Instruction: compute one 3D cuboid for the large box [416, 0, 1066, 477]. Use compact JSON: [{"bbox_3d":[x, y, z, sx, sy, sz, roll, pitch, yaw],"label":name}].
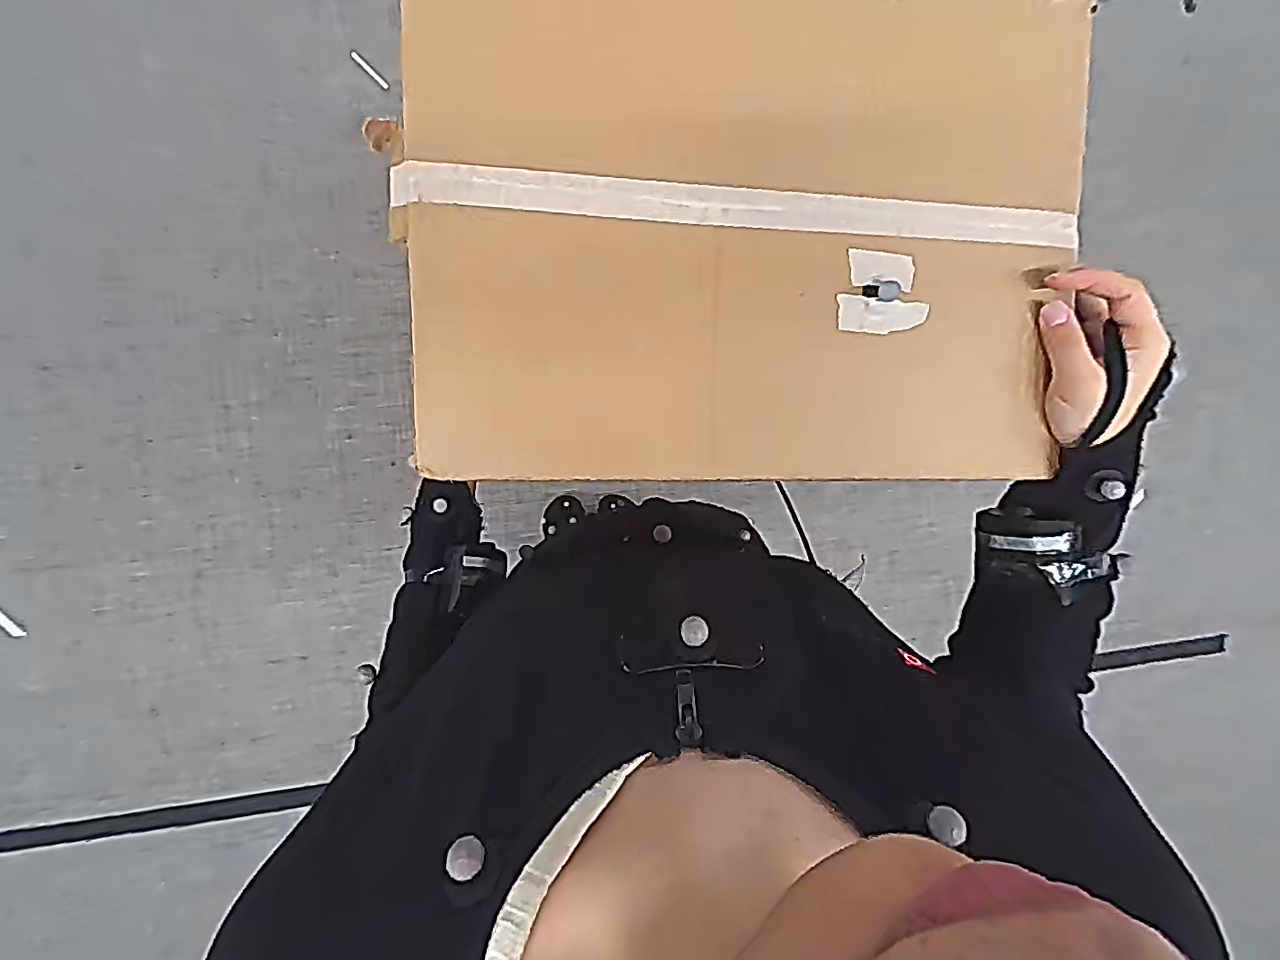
[{"bbox_3d":[0.051,-0.172,0.469,0.408,0.320,0.320,0,96,-10],"label":"large box"}]
